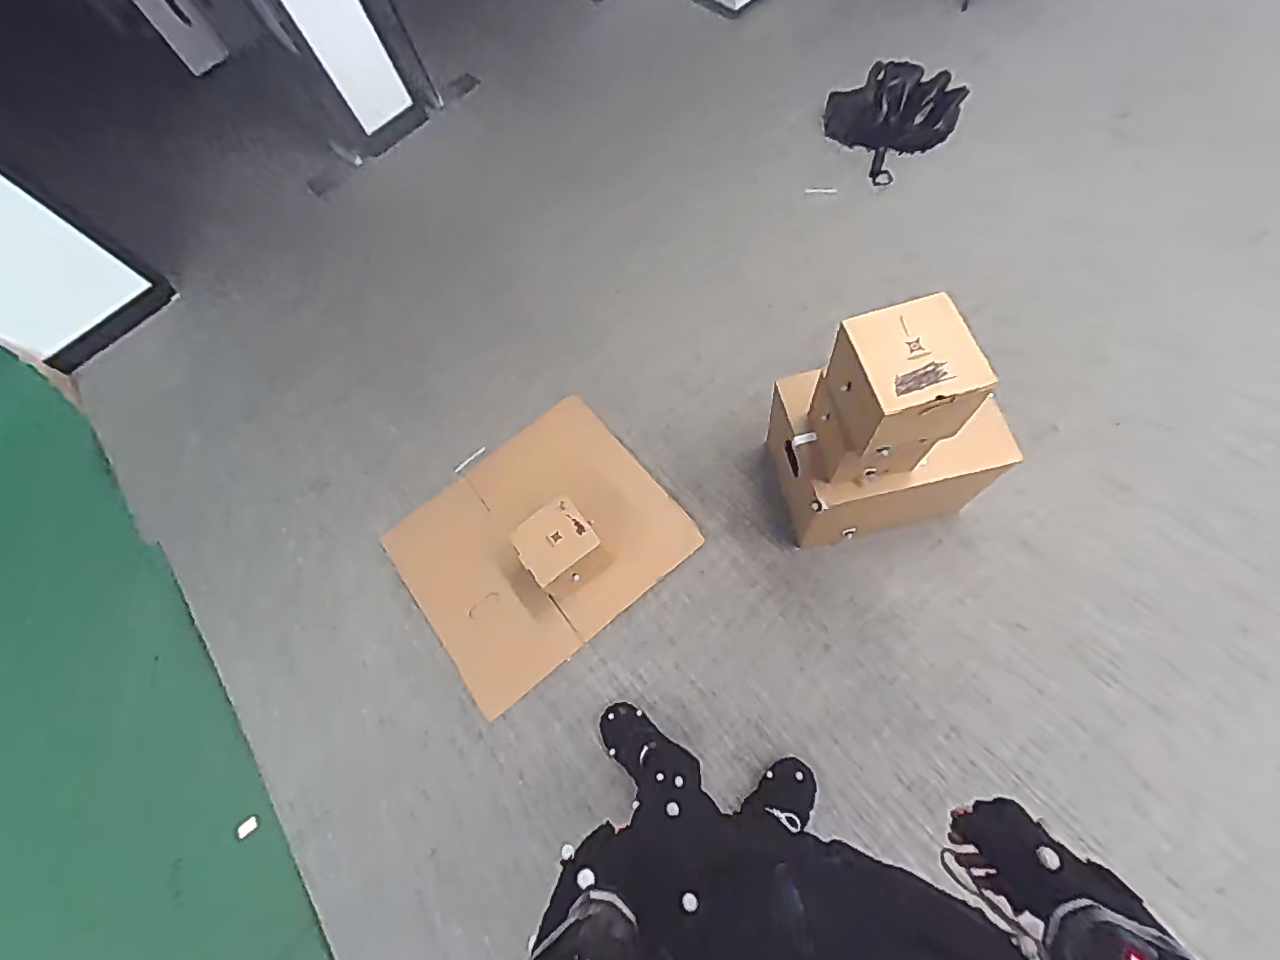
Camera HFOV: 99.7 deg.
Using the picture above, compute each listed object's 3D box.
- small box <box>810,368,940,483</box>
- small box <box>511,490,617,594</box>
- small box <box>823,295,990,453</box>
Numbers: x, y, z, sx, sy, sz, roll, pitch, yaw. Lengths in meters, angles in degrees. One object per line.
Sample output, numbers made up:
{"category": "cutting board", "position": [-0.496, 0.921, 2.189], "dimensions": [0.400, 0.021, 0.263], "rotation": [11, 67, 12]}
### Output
{"category": "small box", "position": [0.436, -0.113, 1.039], "dimensions": [0.168, 0.176, 0.179], "rotation": [-11, 69, 6]}
{"category": "small box", "position": [-0.183, 0.162, 1.353], "dimensions": [0.179, 0.176, 0.168], "rotation": [-40, 65, -5]}
{"category": "small box", "position": [0.417, -0.159, 0.882], "dimensions": [0.168, 0.176, 0.179], "rotation": [-18, 68, 3]}
